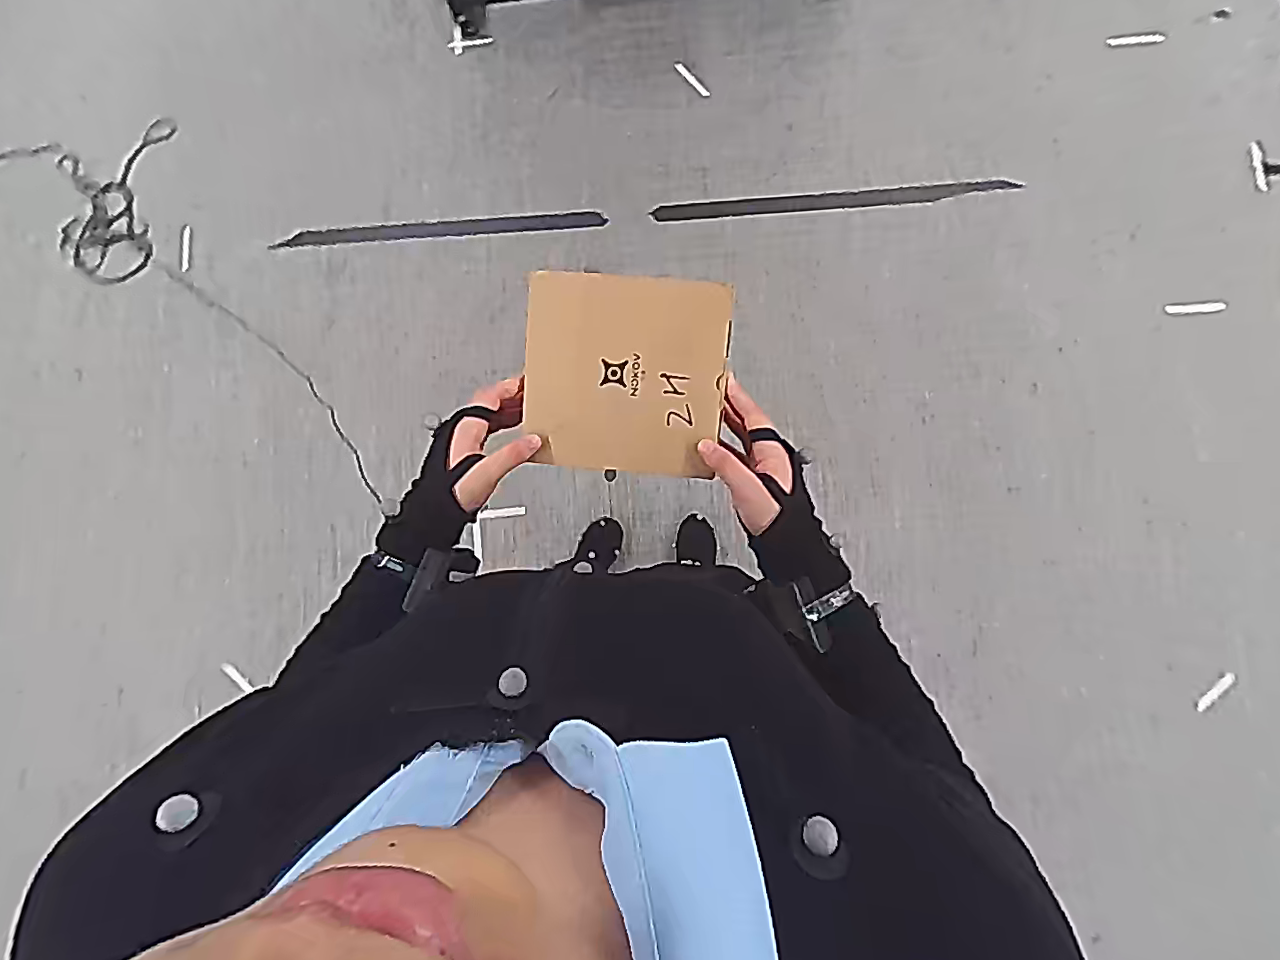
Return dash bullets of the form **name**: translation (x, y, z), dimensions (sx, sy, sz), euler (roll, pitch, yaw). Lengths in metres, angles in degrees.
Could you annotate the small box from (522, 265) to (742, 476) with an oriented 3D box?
- **small box**: translation (-0.003, -0.101, 0.531), dimensions (0.179, 0.176, 0.168), euler (5, 99, 4)
